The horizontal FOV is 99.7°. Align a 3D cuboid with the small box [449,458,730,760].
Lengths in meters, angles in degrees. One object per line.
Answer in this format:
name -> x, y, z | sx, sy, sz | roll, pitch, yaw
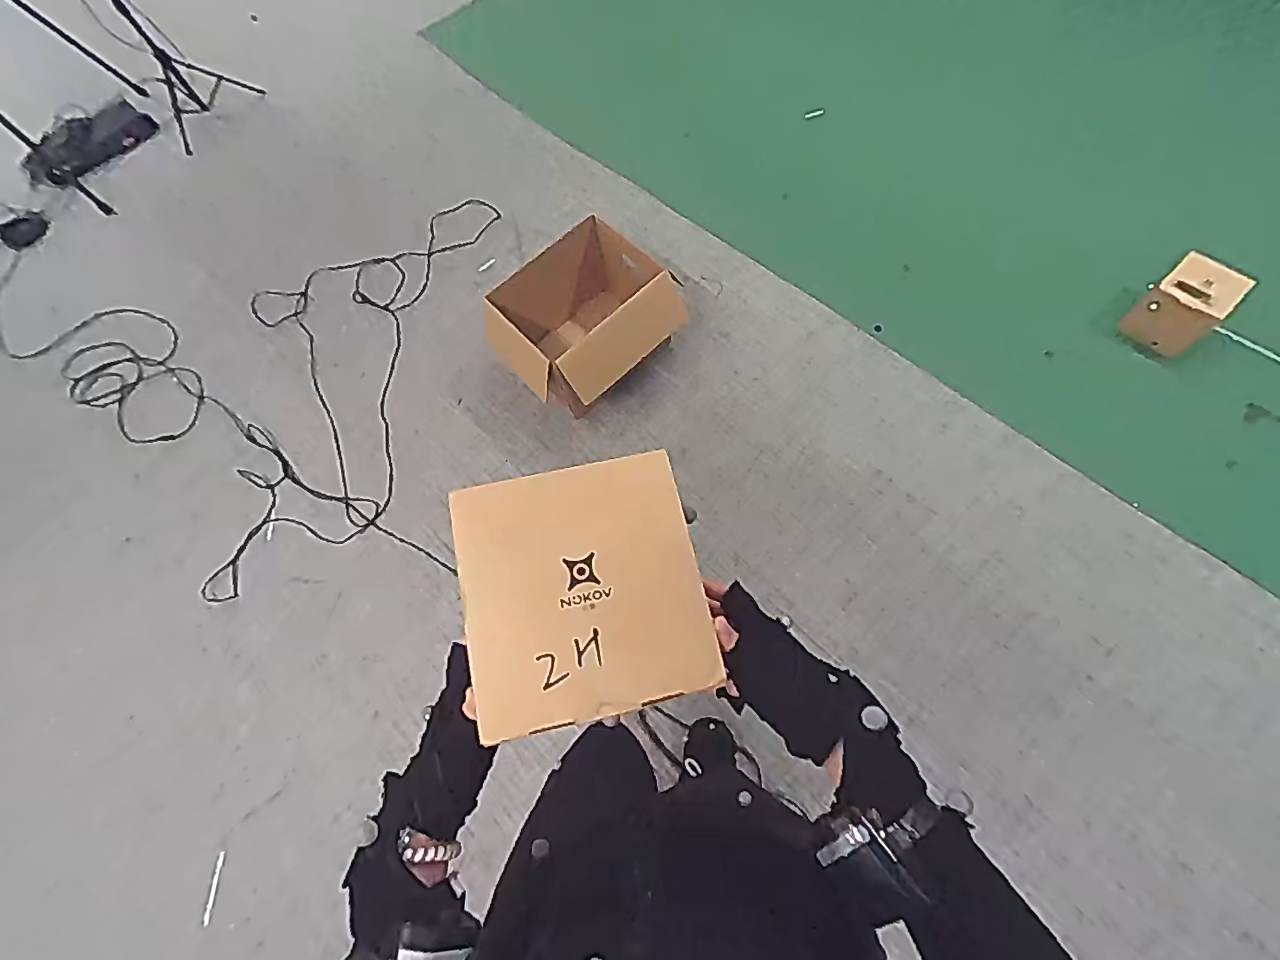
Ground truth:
small box -> -0.043, 0.104, 0.439 | 0.168, 0.176, 0.179 | -12, 72, -7
